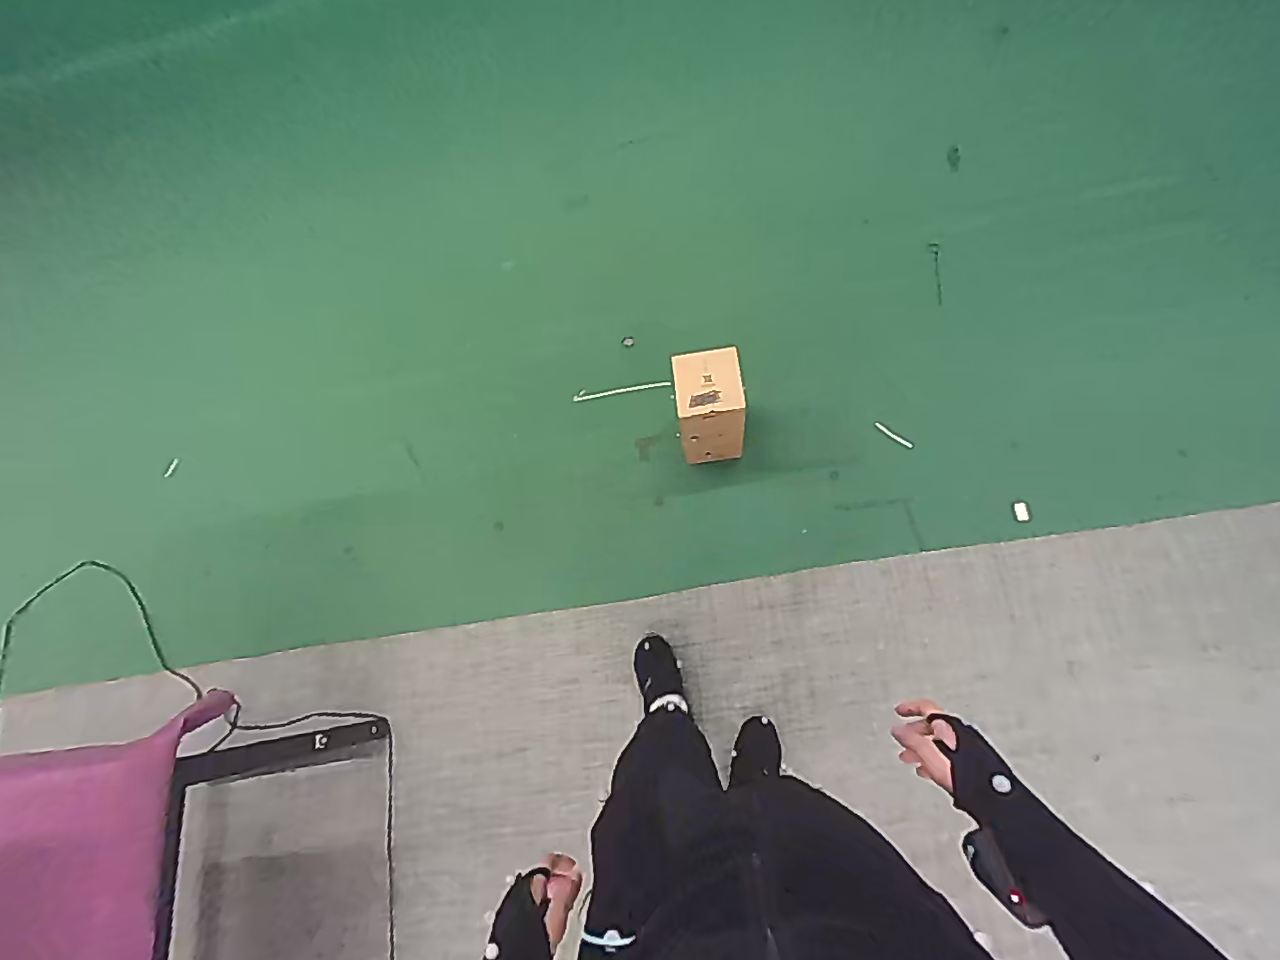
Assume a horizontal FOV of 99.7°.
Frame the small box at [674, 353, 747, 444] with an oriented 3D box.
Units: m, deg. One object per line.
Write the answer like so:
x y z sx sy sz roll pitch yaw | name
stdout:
0.184 -0.203 1.409 0.168 0.176 0.179 -7 70 5 | small box

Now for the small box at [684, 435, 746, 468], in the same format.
0.208 -0.151 1.563 0.168 0.176 0.179 -8 71 6 | small box
